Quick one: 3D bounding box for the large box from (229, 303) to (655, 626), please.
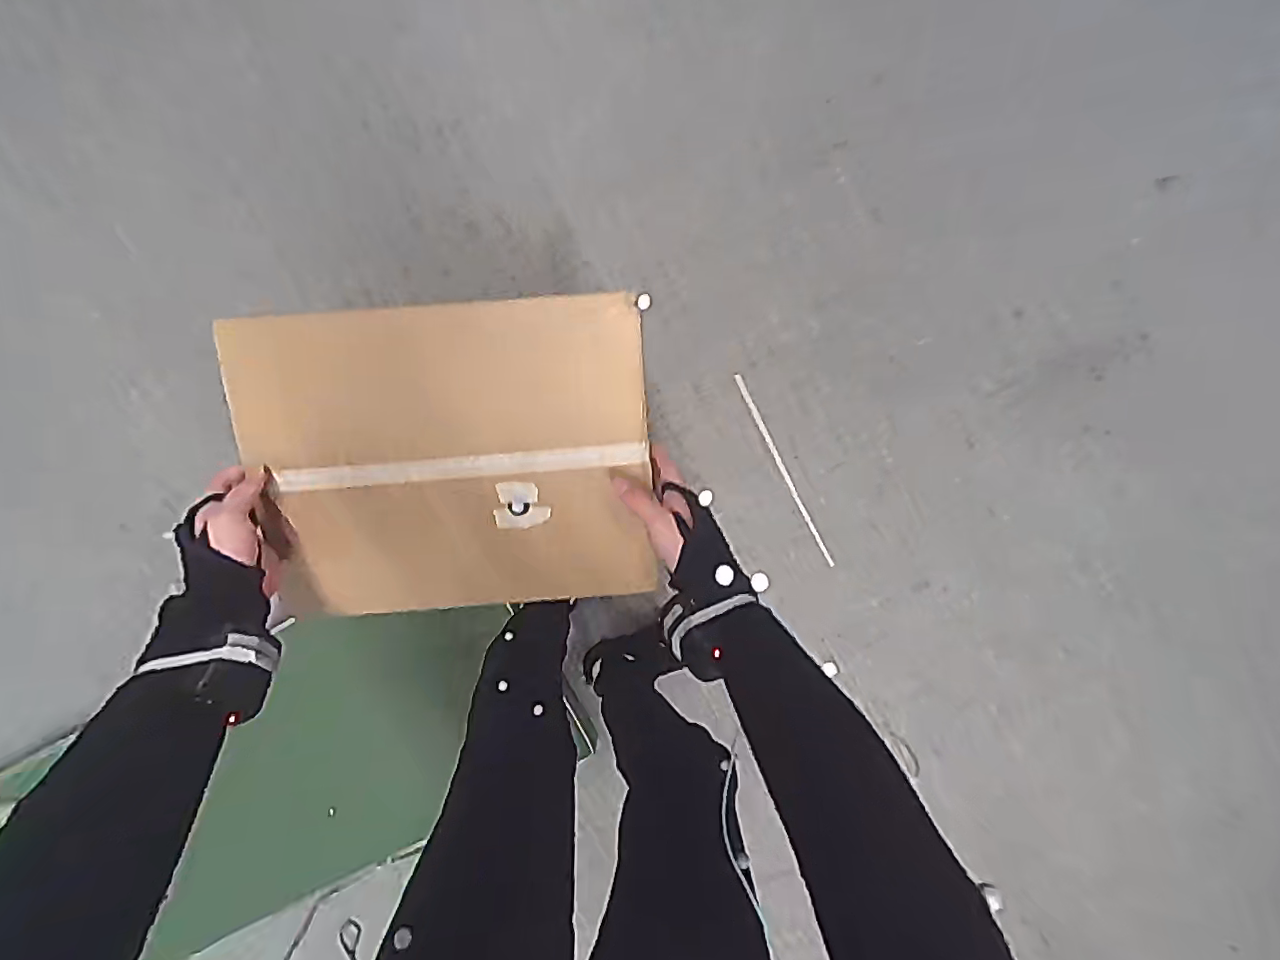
[{"bbox_3d":[-0.203,-0.039,0.711,0.408,0.320,0.320,-5,104,-2],"label":"large box"}]
